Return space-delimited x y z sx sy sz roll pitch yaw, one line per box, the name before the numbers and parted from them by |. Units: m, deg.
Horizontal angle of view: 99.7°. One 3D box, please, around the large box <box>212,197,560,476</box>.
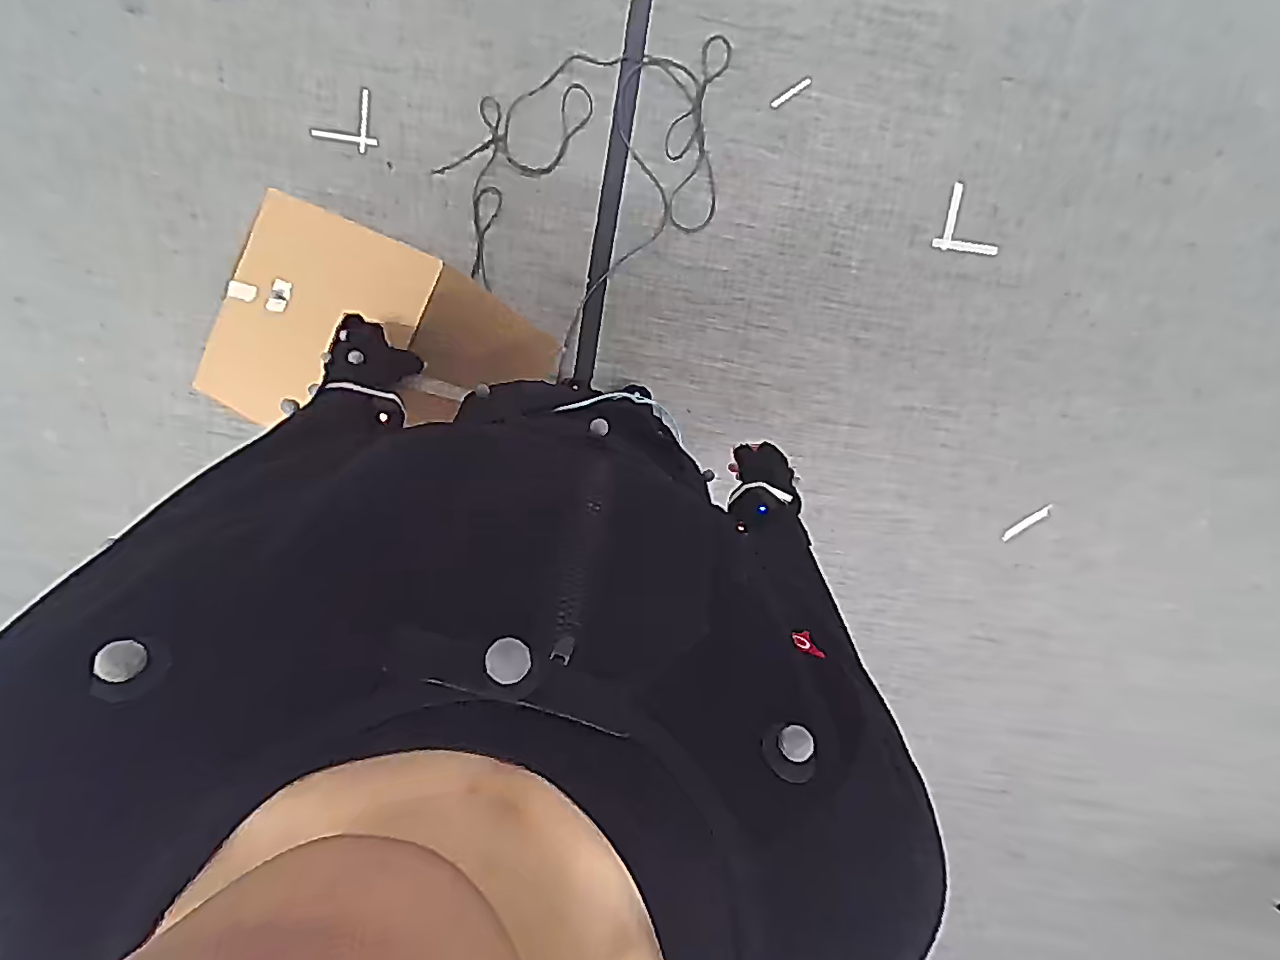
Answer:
large box | -0.402 -0.210 0.941 0.320 0.408 0.320 28 95 13
